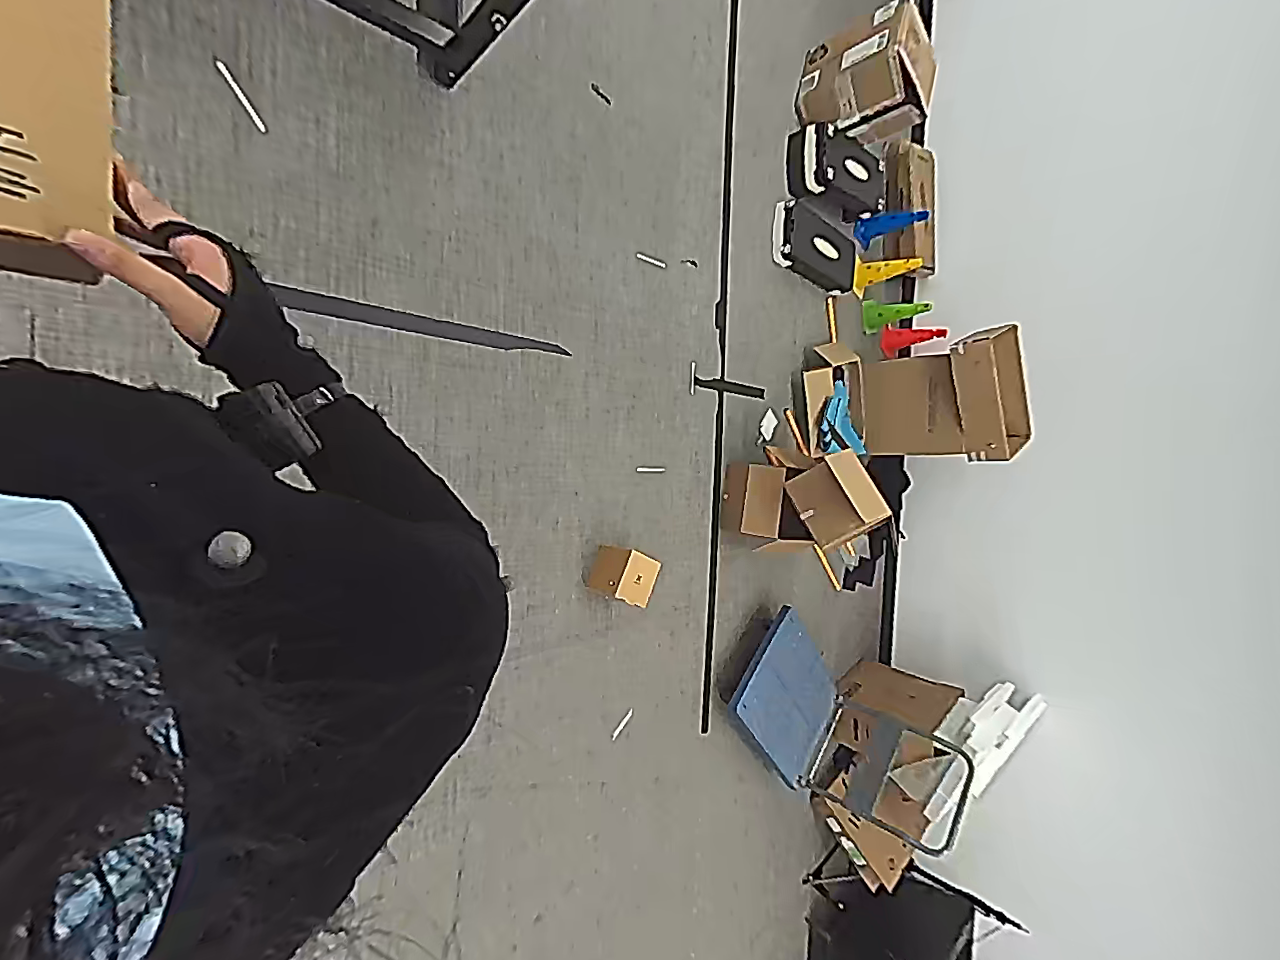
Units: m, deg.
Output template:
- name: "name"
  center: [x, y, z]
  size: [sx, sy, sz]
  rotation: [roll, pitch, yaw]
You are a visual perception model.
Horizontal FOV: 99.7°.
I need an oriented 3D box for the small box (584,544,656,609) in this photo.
- name: "small box"
  center: [-0.077, 0.346, 1.966]
  size: [0.168, 0.176, 0.179]
  rotation: [33, 72, -41]
